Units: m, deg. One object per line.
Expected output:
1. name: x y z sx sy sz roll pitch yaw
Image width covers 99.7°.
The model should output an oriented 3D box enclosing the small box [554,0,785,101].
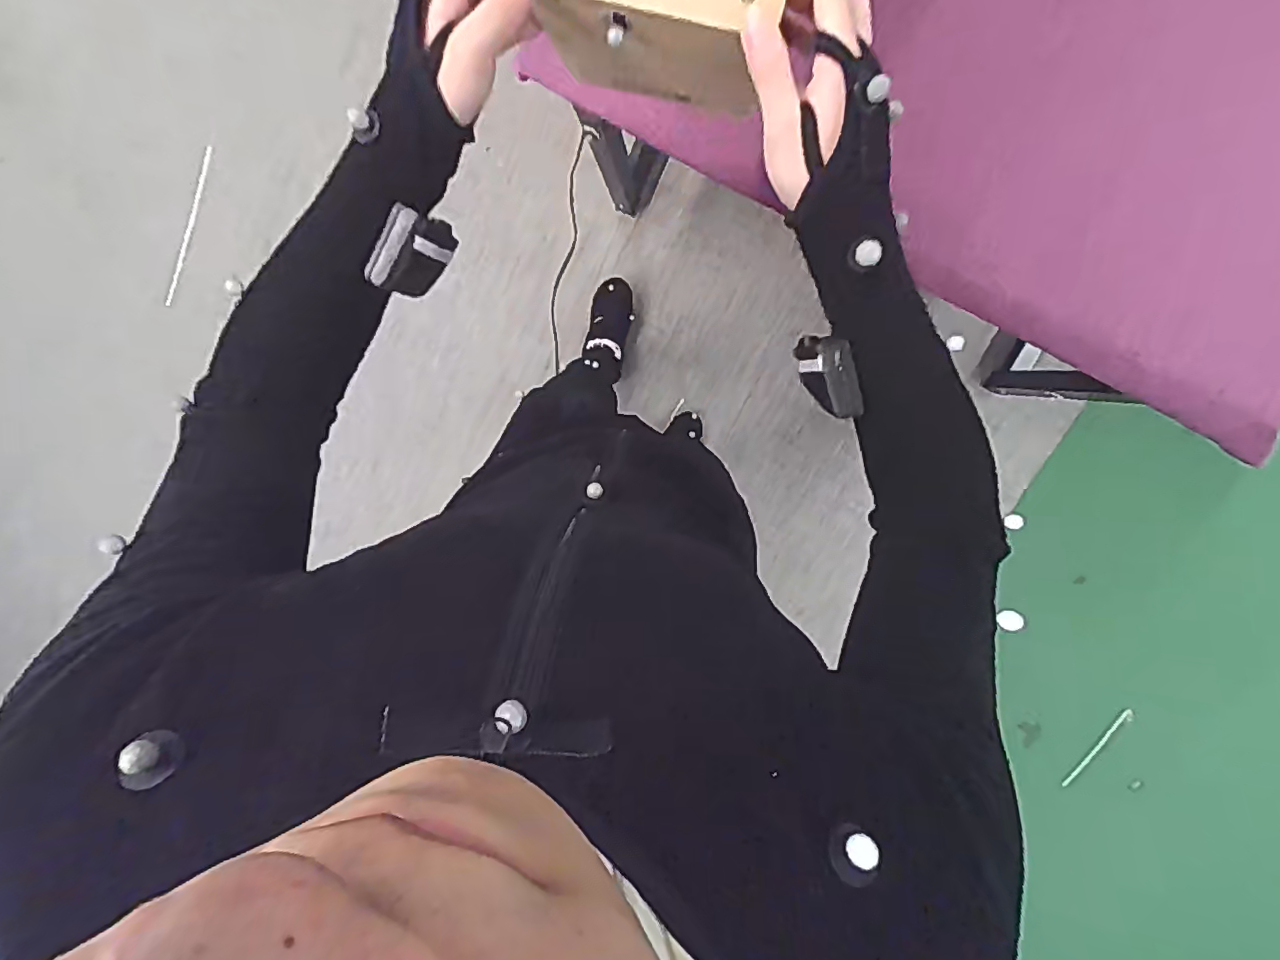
1. small box: 0.030 -0.394 0.360 0.168 0.176 0.179 14 111 1
